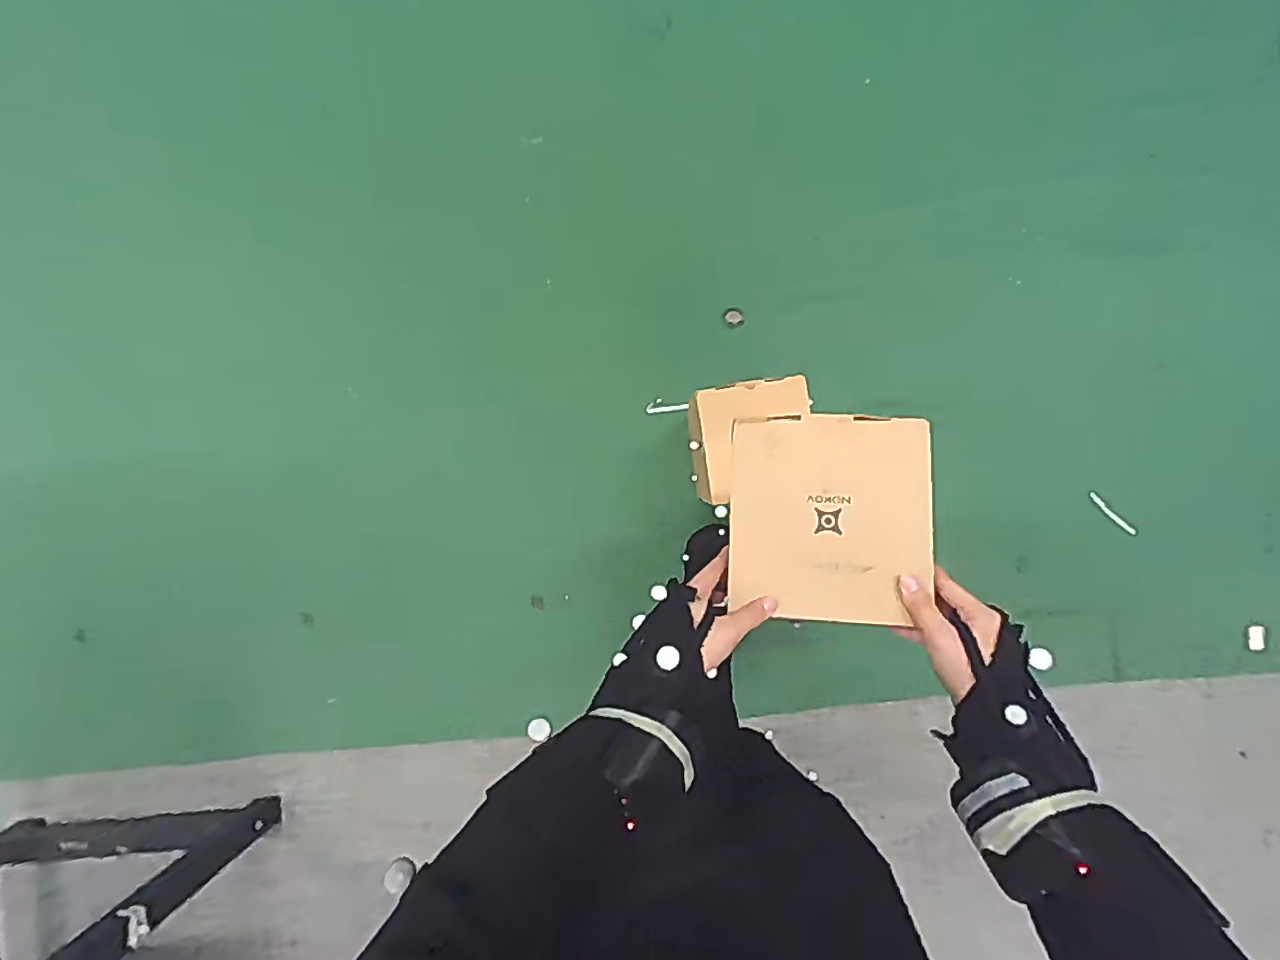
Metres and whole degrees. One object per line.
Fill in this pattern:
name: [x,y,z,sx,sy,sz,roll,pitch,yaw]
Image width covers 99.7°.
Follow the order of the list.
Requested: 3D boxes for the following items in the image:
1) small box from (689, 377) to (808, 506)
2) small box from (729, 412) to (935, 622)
small box: [0.174,-0.058,0.879,0.168,0.176,0.179,-8,89,1]
small box: [0.174,0.039,0.537,0.168,0.176,0.179,0,82,11]
